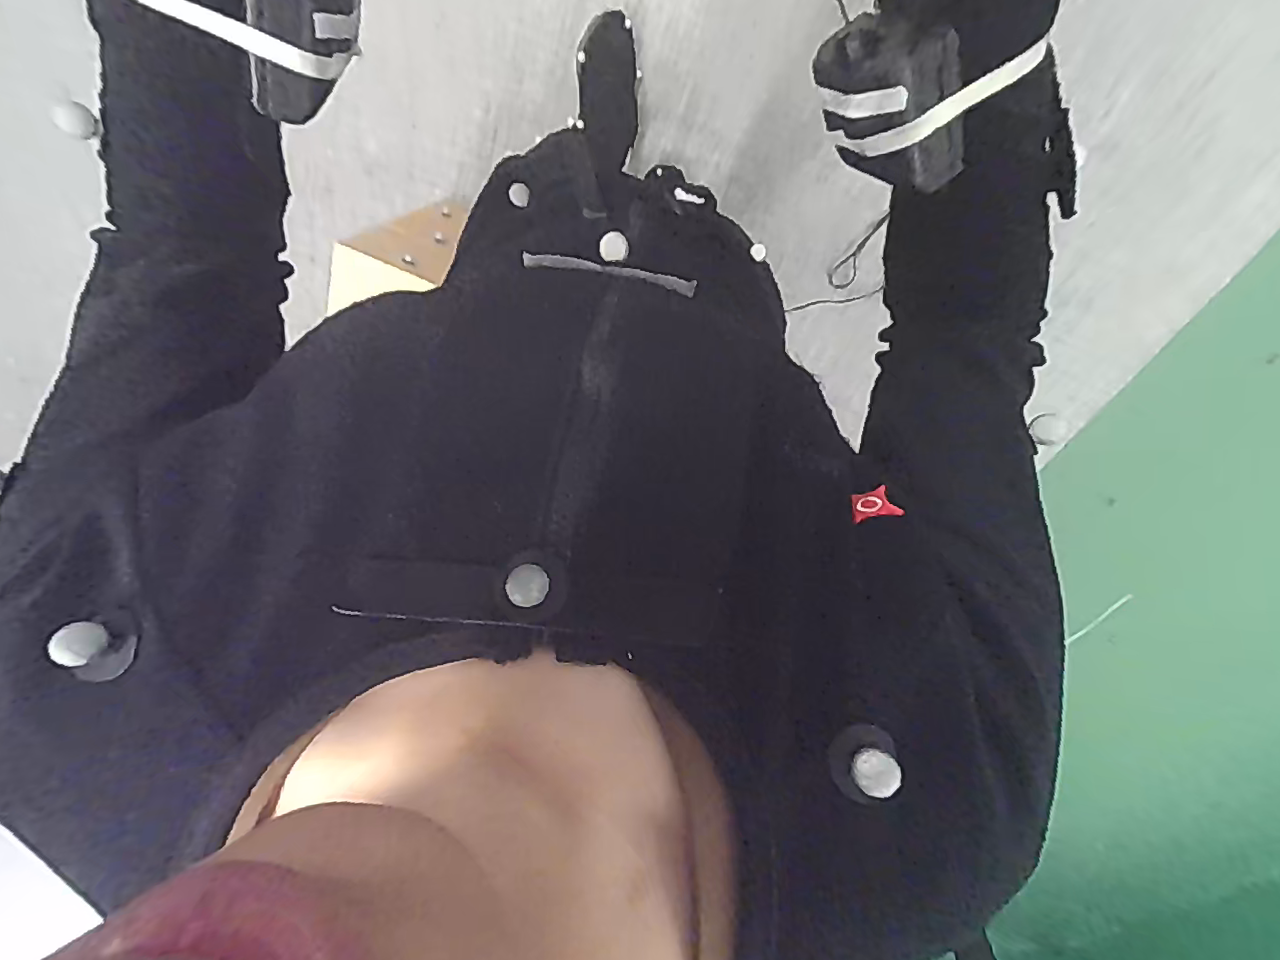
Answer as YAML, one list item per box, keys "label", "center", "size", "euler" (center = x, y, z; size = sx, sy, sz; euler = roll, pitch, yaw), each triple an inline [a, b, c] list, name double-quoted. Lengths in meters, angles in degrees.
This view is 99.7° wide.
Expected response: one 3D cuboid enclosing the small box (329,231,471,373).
- label: "small box"
  center: [-0.425, -0.327, 0.977]
  size: [0.179, 0.176, 0.168]
  euler: [21, 122, -11]
